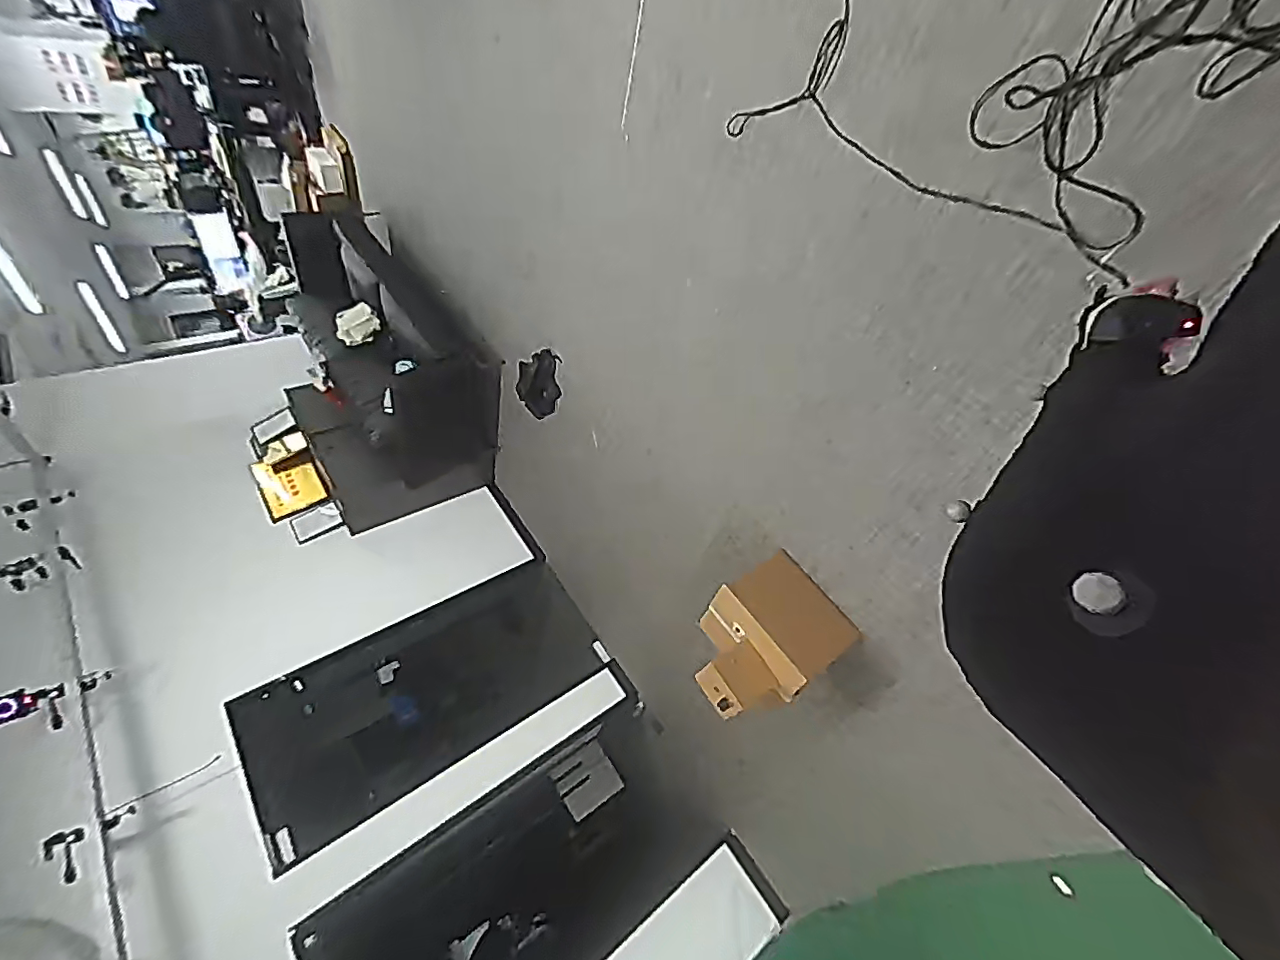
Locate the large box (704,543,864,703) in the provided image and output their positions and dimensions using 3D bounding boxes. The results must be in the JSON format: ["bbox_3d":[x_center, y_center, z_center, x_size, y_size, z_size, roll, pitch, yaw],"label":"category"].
[{"bbox_3d":[0.509,0.509,1.959,0.408,0.320,0.320,50,144,27],"label":"large box"}]
